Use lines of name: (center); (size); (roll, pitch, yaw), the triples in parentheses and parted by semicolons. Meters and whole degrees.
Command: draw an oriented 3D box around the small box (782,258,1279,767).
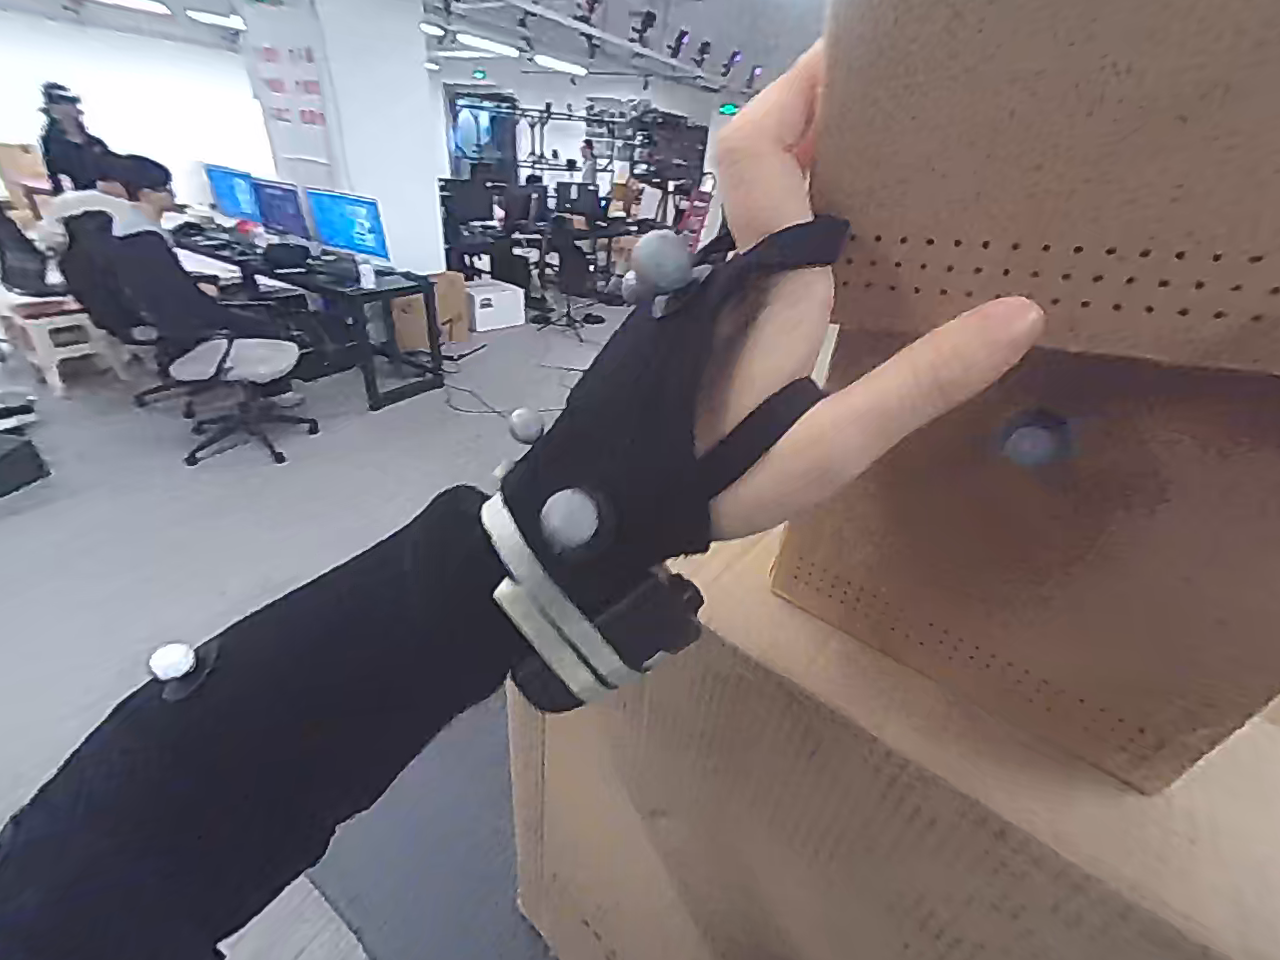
small box: (0.196, 0.003, 0.268); (0.179, 0.176, 0.168); (26, 39, 30)
